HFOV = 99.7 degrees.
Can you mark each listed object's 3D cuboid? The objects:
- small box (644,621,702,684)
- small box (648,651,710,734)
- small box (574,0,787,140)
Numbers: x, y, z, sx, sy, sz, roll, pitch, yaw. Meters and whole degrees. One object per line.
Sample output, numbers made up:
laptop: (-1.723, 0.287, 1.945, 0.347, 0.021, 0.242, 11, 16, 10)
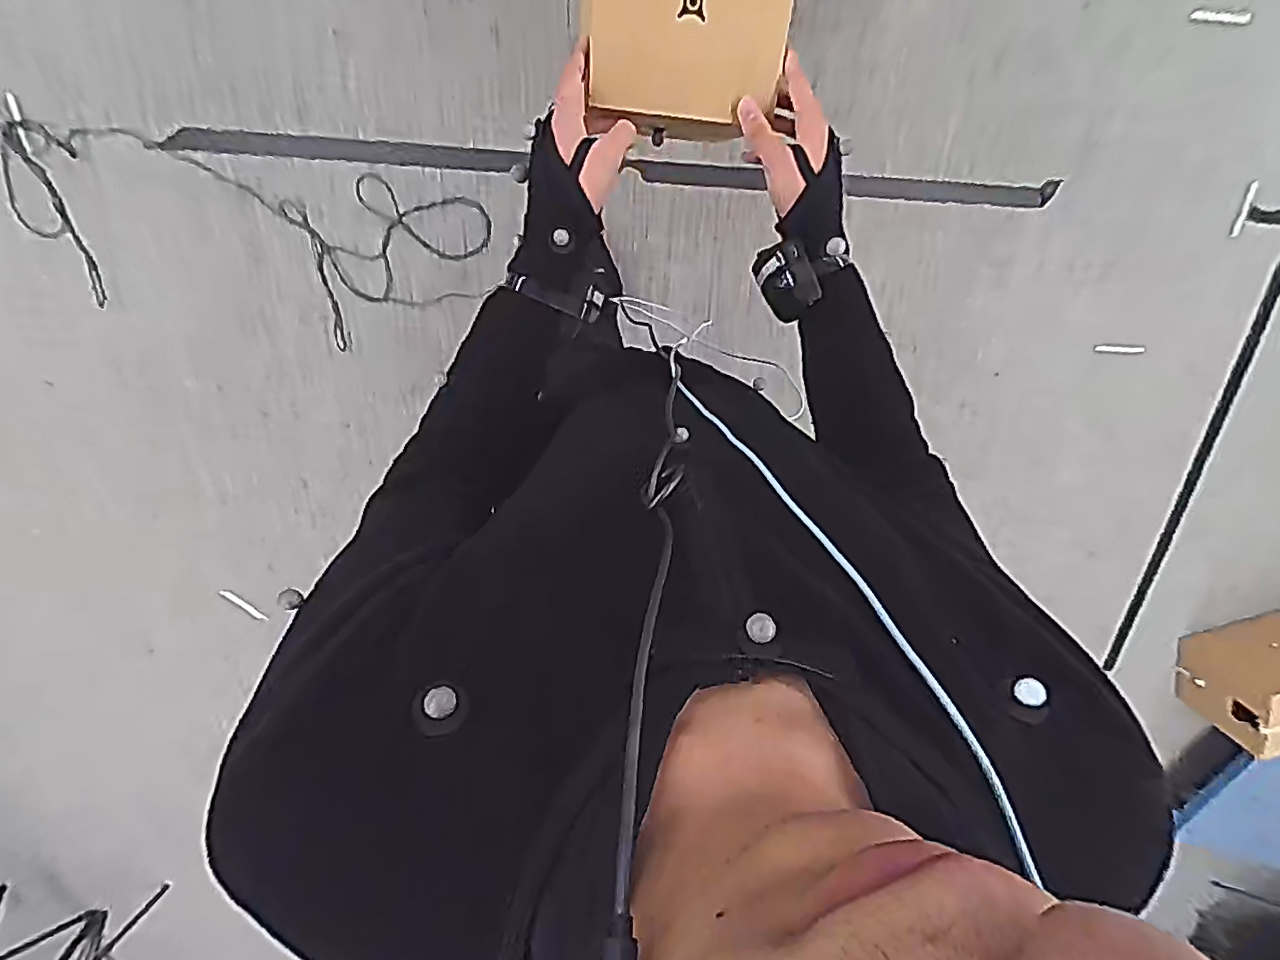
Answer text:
small box: (0.108, 0.599, 1.845, 0.179, 0.176, 0.168, -1, 111, -5)
small box: (0.116, 0.662, 1.693, 0.168, 0.176, 0.179, -1, 111, -6)
small box: (0.028, -0.429, 0.499, 0.168, 0.176, 0.179, 0, 117, -11)
